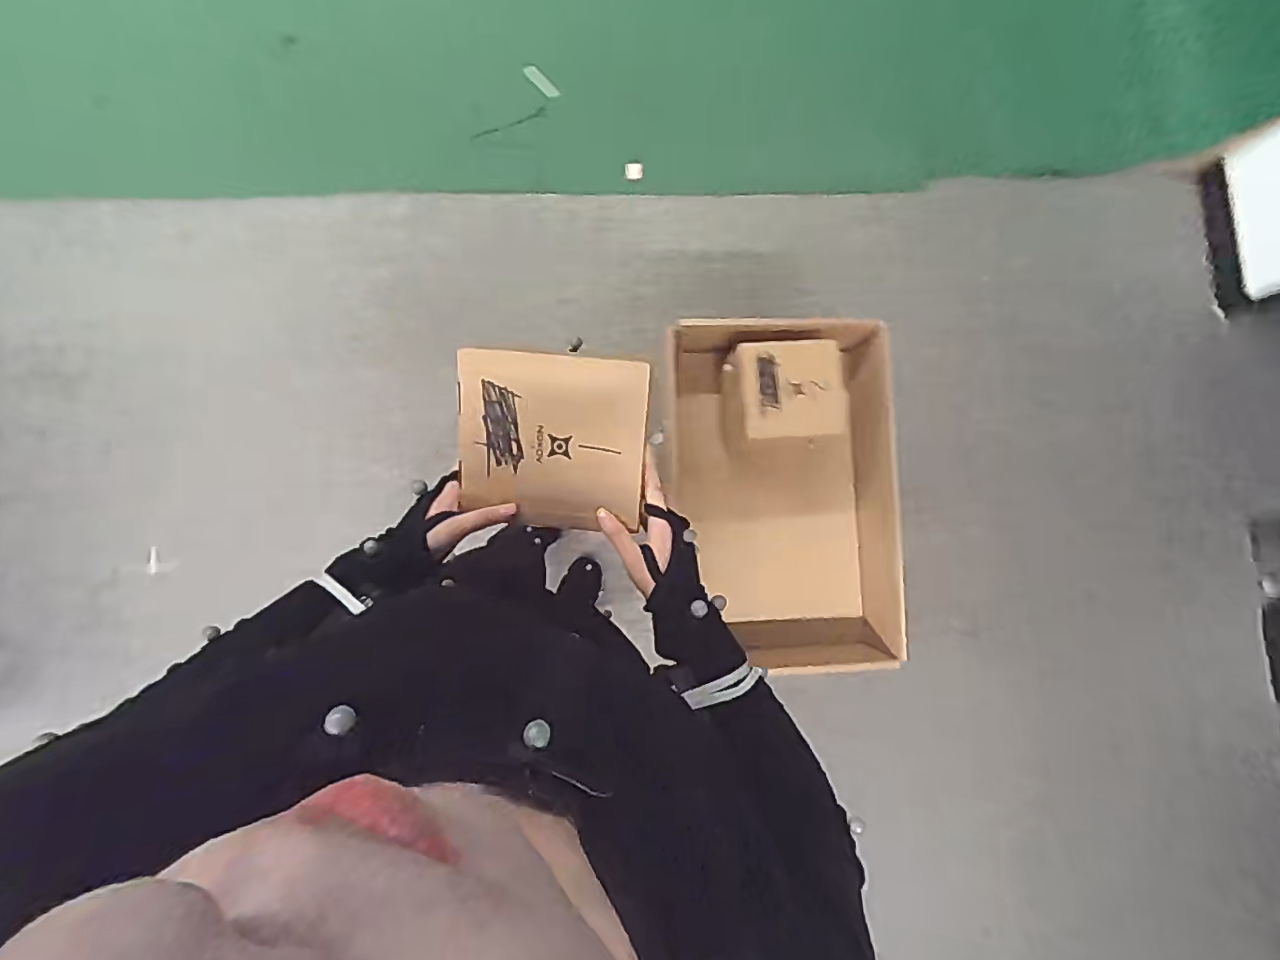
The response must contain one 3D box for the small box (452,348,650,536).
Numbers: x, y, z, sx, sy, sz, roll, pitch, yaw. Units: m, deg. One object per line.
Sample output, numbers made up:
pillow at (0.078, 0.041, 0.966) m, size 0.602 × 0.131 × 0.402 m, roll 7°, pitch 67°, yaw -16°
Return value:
small box at (-0.083, -0.051, 0.575) m, size 0.179 × 0.176 × 0.168 m, roll 4°, pitch 105°, yaw 1°
